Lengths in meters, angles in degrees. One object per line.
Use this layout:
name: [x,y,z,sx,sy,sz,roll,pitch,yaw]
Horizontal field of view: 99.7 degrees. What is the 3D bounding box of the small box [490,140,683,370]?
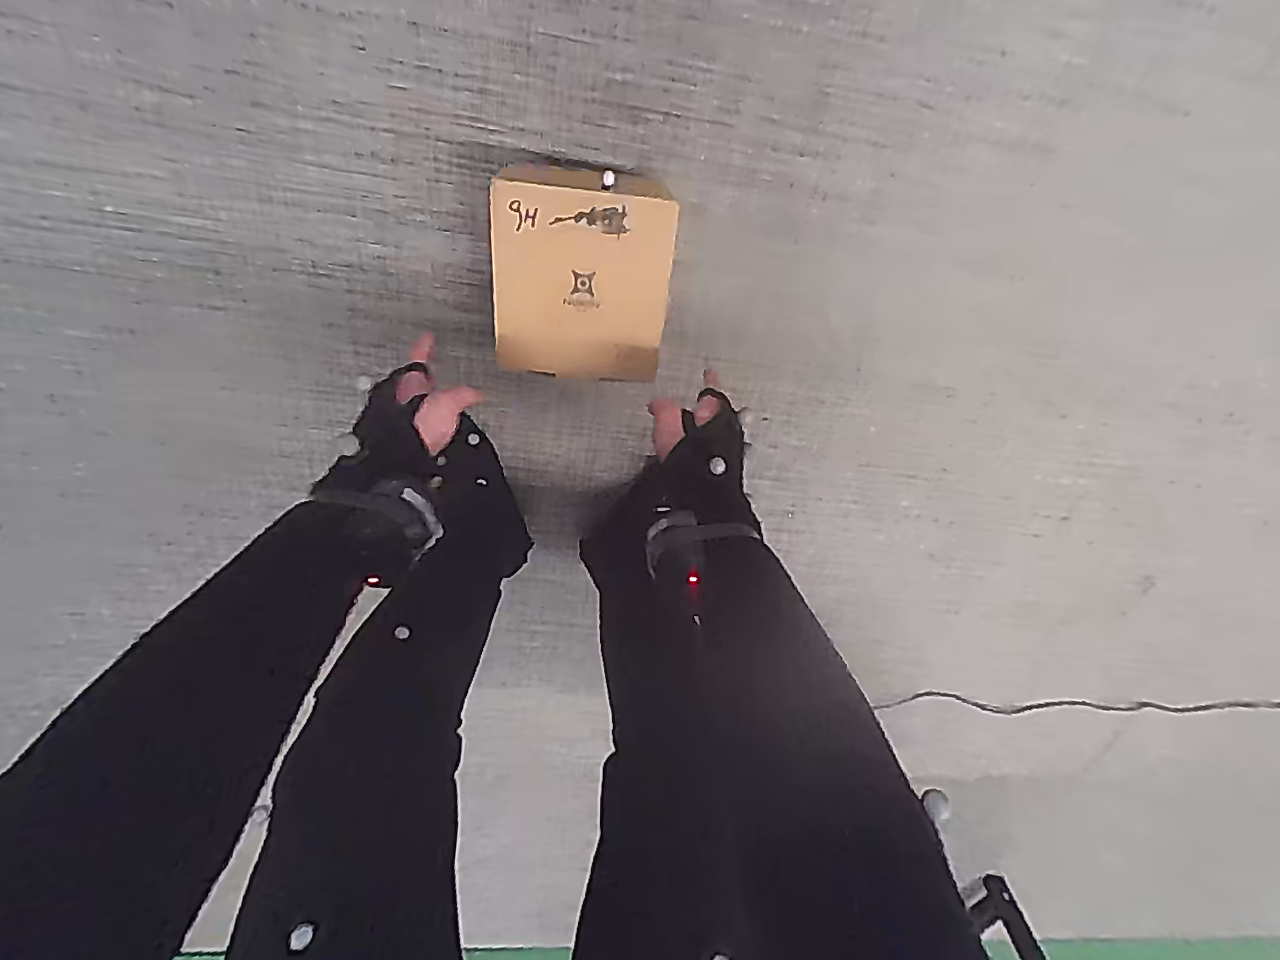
small box: [-0.058,-0.236,0.563,0.168,0.176,0.179,5,125,-7]
